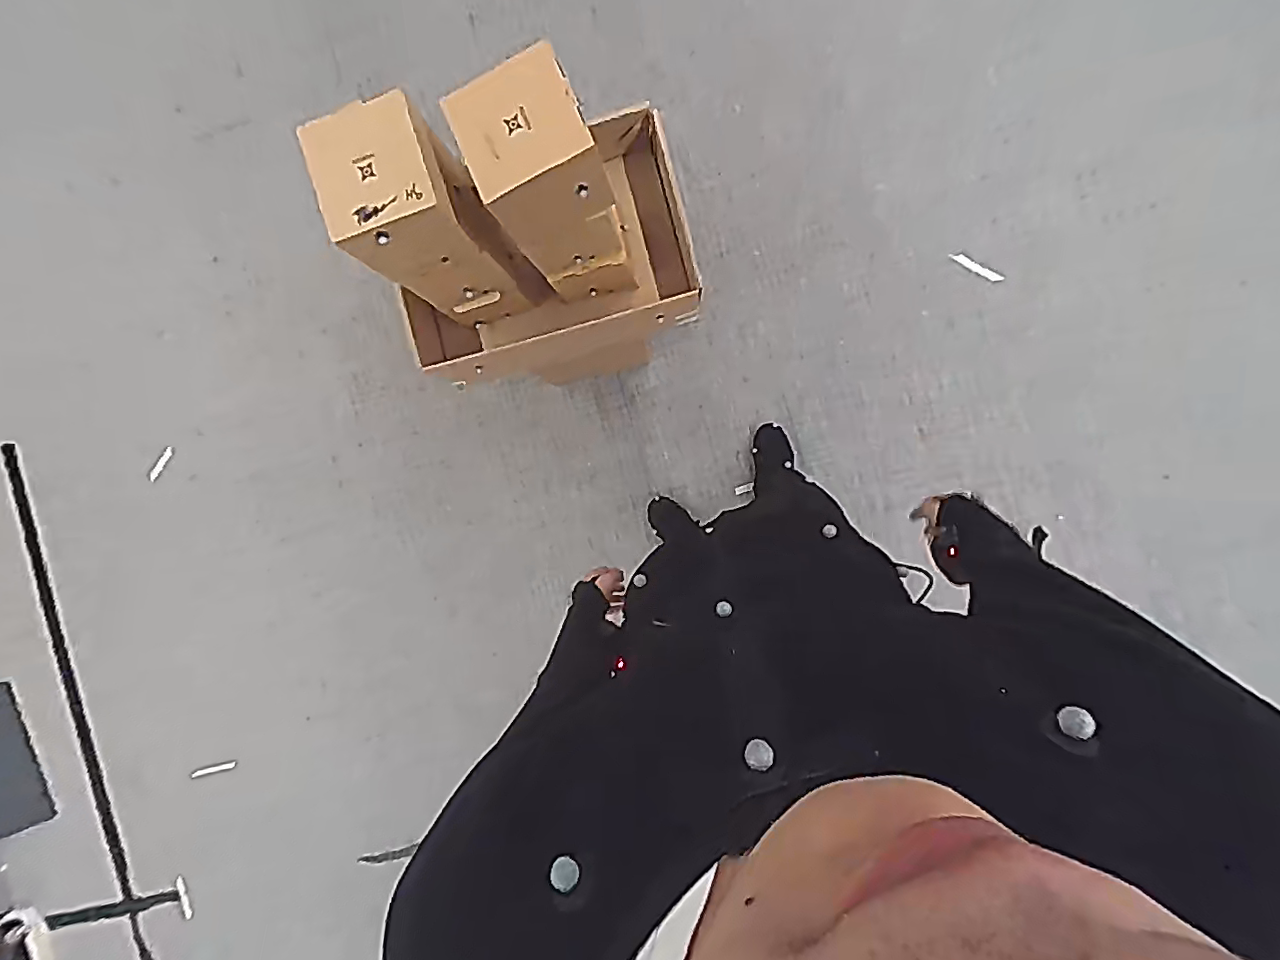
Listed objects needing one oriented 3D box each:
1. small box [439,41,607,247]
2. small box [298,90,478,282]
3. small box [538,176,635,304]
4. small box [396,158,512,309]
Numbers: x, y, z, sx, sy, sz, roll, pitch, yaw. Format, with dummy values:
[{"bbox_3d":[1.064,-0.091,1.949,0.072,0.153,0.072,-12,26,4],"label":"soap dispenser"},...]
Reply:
[{"bbox_3d":[-0.162,-0.491,0.819,0.179,0.176,0.168,-23,89,9],"label":"small box"},{"bbox_3d":[-0.377,-0.438,0.835,0.168,0.176,0.179,-17,88,6],"label":"small box"},{"bbox_3d":[-0.115,-0.496,1.143,0.168,0.176,0.179,-12,91,8],"label":"small box"},{"bbox_3d":[-0.356,-0.443,0.999,0.168,0.176,0.179,-17,90,5],"label":"small box"}]
